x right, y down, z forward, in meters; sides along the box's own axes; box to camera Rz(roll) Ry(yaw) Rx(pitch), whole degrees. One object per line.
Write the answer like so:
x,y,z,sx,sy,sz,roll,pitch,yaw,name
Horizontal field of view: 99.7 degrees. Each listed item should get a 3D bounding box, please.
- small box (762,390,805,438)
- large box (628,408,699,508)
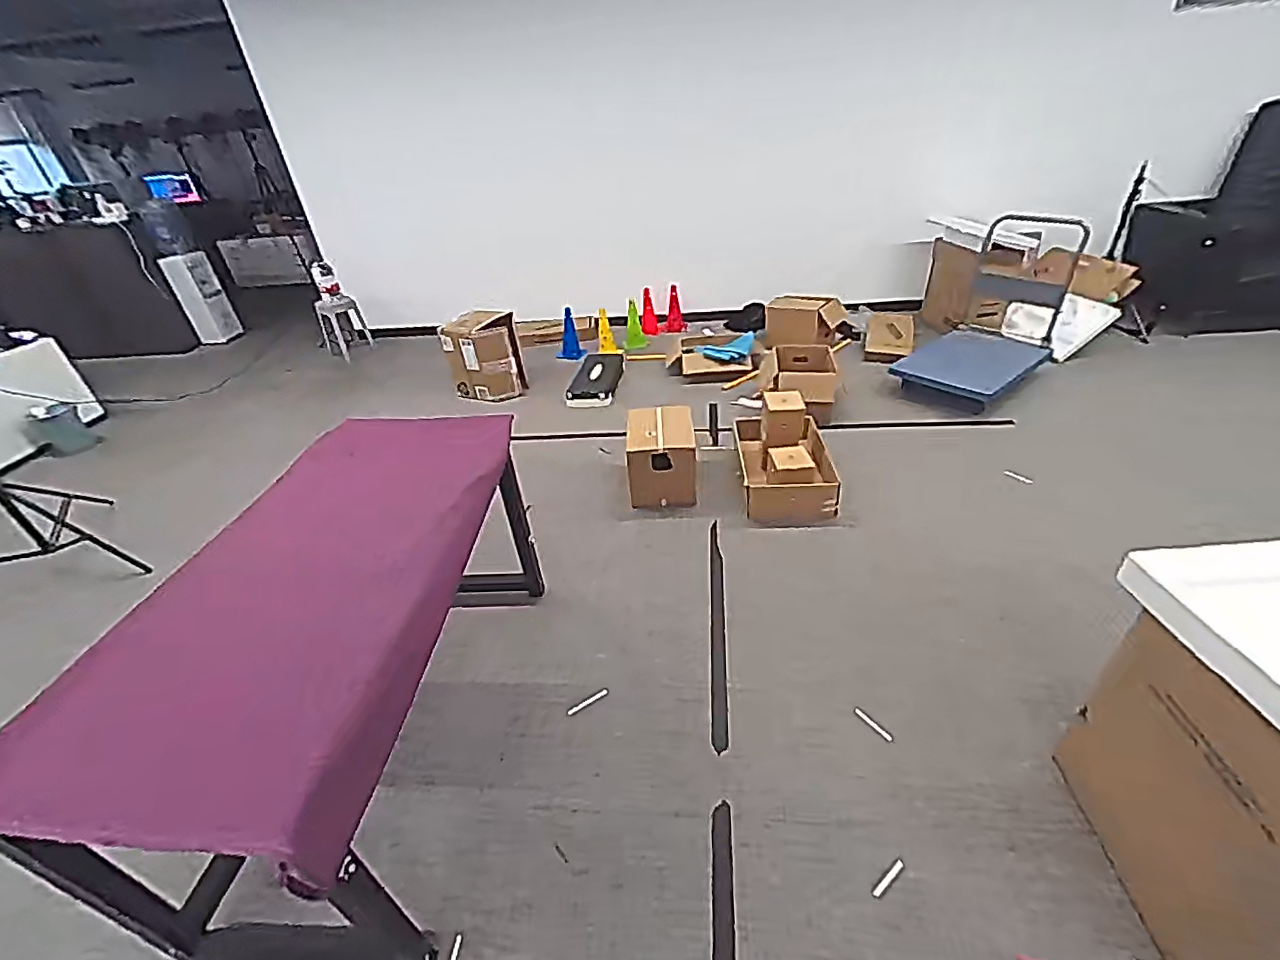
0.673,-0.307,2.545,0.168,0.176,0.179,-1,36,4,small box
0.112,-0.115,2.602,0.320,0.320,0.408,-4,35,3,large box
